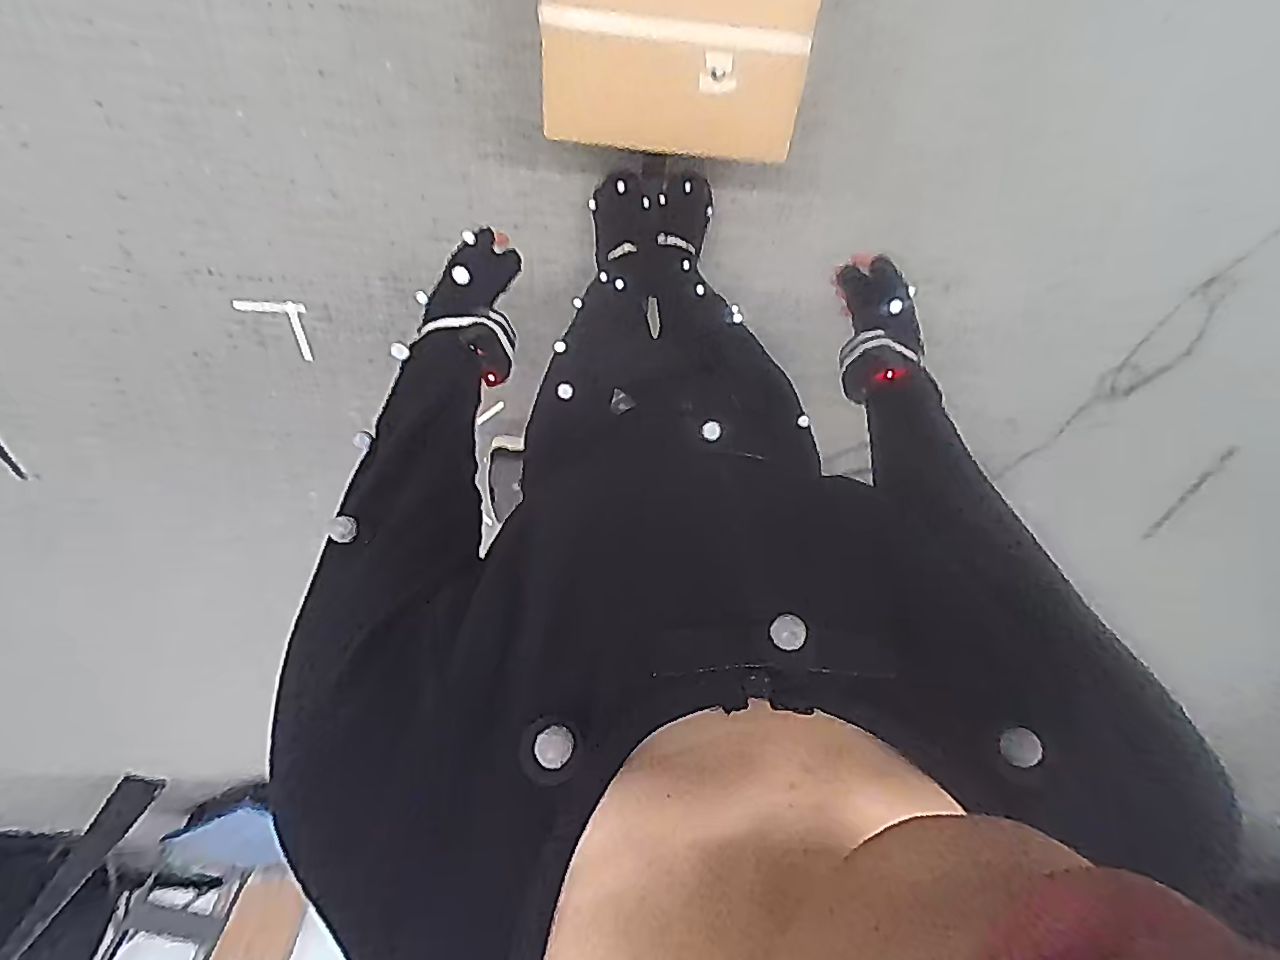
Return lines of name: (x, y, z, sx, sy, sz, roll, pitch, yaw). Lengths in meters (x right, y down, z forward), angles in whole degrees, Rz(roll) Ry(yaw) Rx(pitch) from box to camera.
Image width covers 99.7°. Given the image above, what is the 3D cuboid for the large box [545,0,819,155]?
large box: (0.052, -0.760, 0.912, 0.408, 0.320, 0.320, 3, 129, -5)
